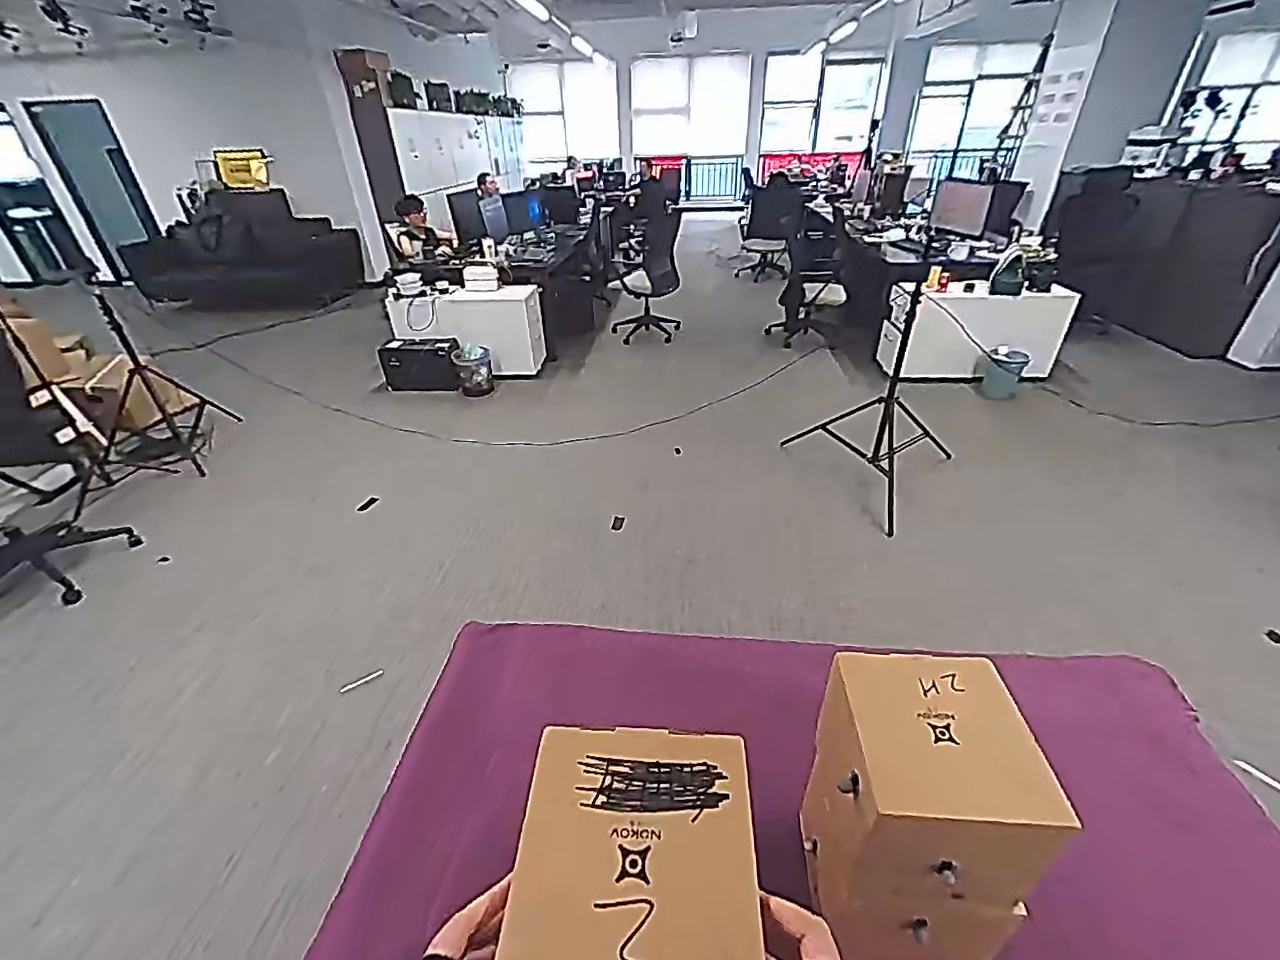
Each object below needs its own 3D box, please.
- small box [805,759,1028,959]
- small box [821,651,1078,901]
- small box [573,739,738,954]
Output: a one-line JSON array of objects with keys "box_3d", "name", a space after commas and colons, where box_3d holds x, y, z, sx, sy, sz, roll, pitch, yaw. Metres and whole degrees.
[{"box_3d": [0.309, 0.450, 0.651, 0.179, 0.176, 0.168, 1, 33, 5], "name": "small box"}, {"box_3d": [0.298, 0.307, 0.570, 0.168, 0.176, 0.179, 1, 32, 5], "name": "small box"}, {"box_3d": [0.024, 0.448, 0.667, 0.179, 0.176, 0.168, 2, 33, 4], "name": "small box"}]
